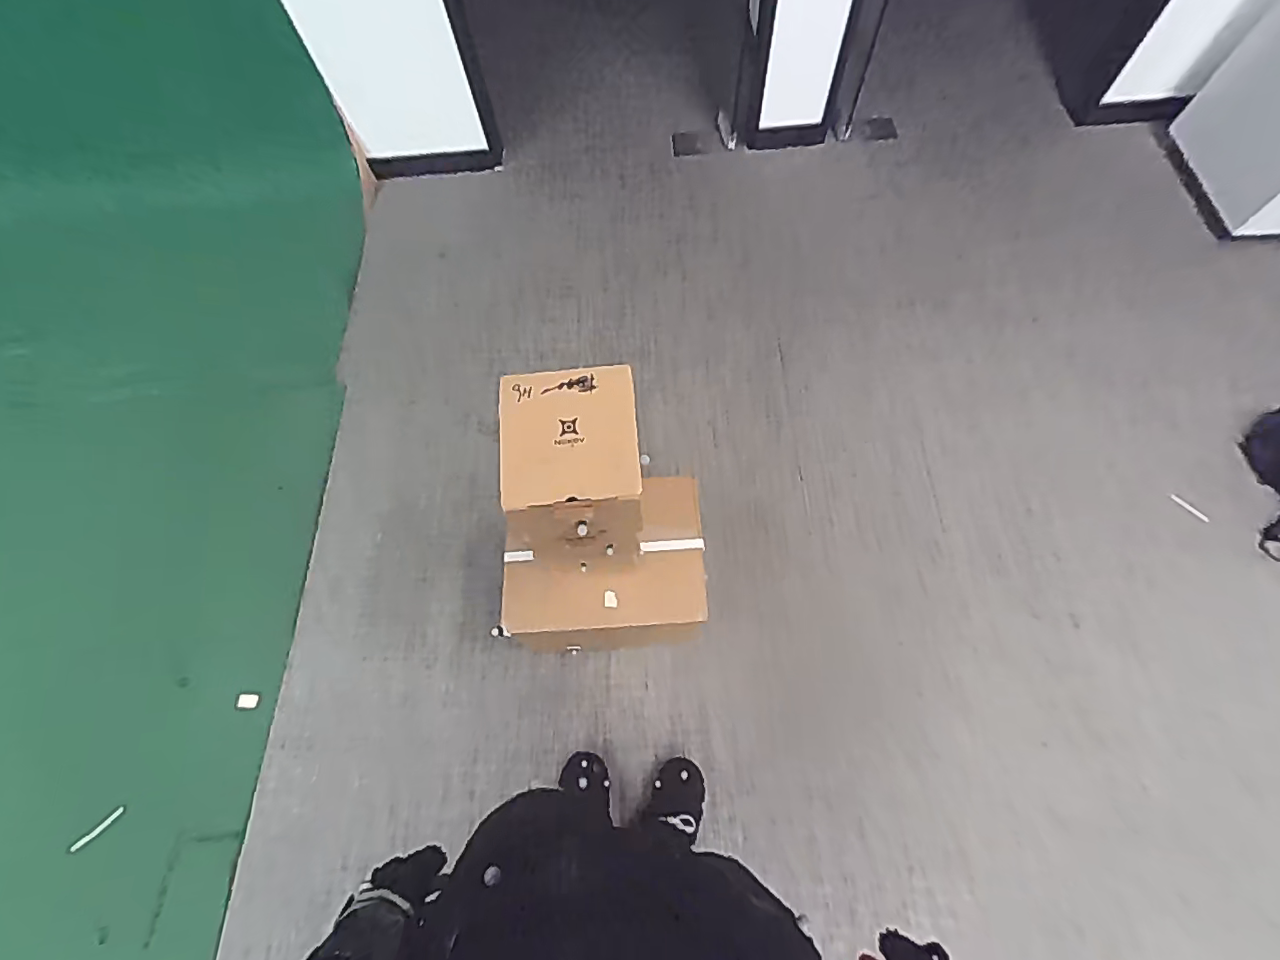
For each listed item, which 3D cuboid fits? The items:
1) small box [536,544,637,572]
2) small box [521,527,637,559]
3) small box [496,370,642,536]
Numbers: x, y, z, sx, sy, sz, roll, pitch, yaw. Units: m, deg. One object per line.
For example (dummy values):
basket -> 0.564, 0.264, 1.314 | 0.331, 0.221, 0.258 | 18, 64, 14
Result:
small box -> -0.096, 0.082, 1.036 | 0.179, 0.176, 0.168 | -4, 72, 1
small box -> -0.096, 0.028, 0.882 | 0.168, 0.176, 0.179 | -6, 71, 0
small box -> -0.088, -0.025, 0.728 | 0.168, 0.176, 0.179 | -6, 73, 0
